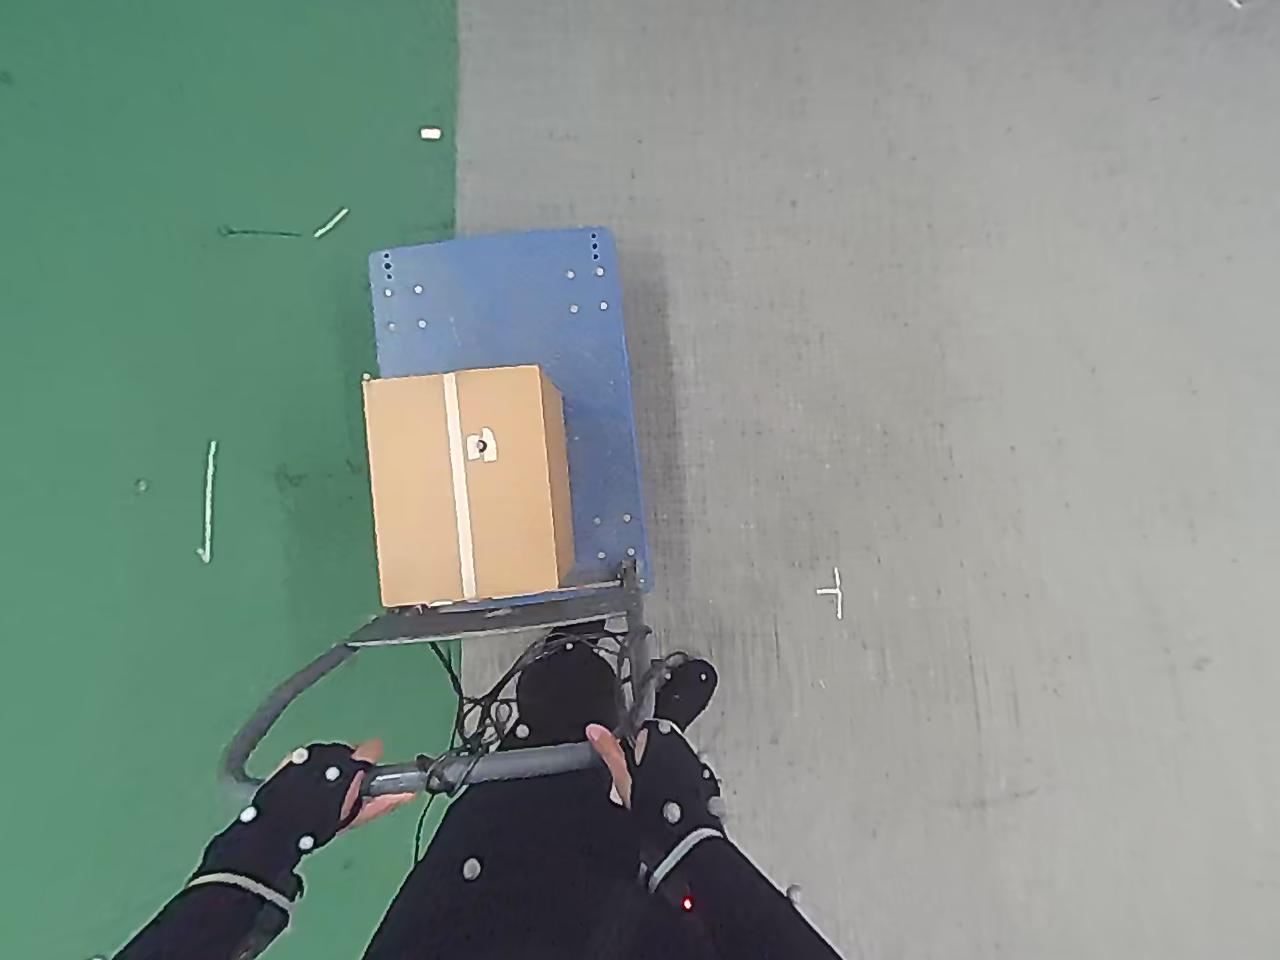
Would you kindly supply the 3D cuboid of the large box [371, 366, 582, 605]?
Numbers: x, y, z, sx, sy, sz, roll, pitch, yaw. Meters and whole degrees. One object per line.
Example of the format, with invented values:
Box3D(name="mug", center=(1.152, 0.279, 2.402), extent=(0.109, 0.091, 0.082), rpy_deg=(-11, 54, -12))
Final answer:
Box3D(name="large box", center=(-0.307, 0.013, 1.109), extent=(0.320, 0.320, 0.408), rpy_deg=(-6, 89, -1))
